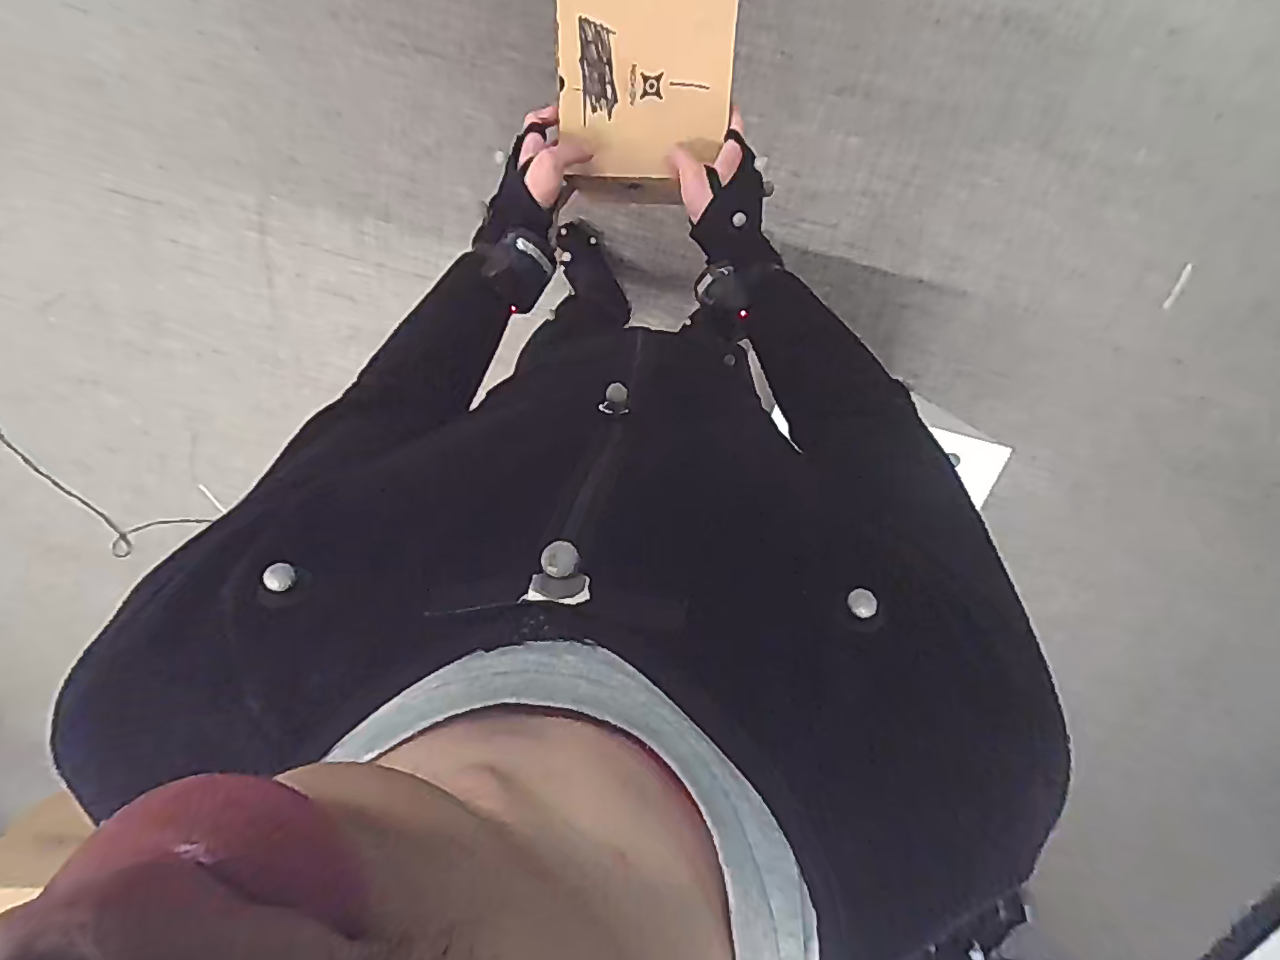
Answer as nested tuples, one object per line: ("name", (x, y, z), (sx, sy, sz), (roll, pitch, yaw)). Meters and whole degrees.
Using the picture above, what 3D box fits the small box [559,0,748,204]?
("small box", (0.013, -0.408, 0.590), (0.179, 0.176, 0.168), (2, 108, 1))
